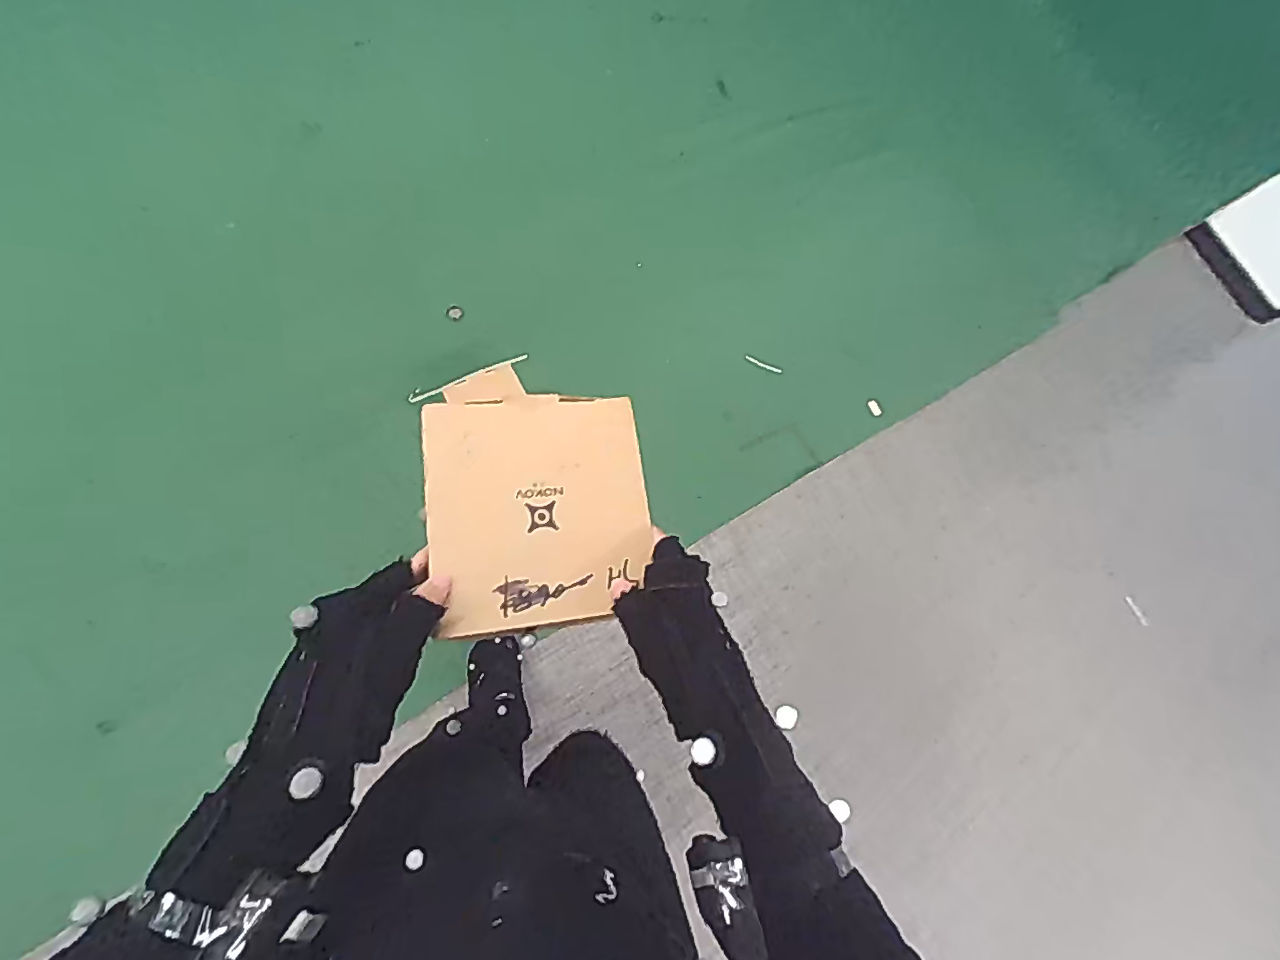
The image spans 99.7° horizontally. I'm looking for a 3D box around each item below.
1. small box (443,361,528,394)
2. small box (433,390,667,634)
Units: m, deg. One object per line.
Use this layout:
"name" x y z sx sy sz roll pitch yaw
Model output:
"small box" -0.337 -0.142 1.256 0.168 0.176 0.179 -25 83 -17
"small box" -0.089 0.035 0.485 0.168 0.176 0.179 -5 74 -16
